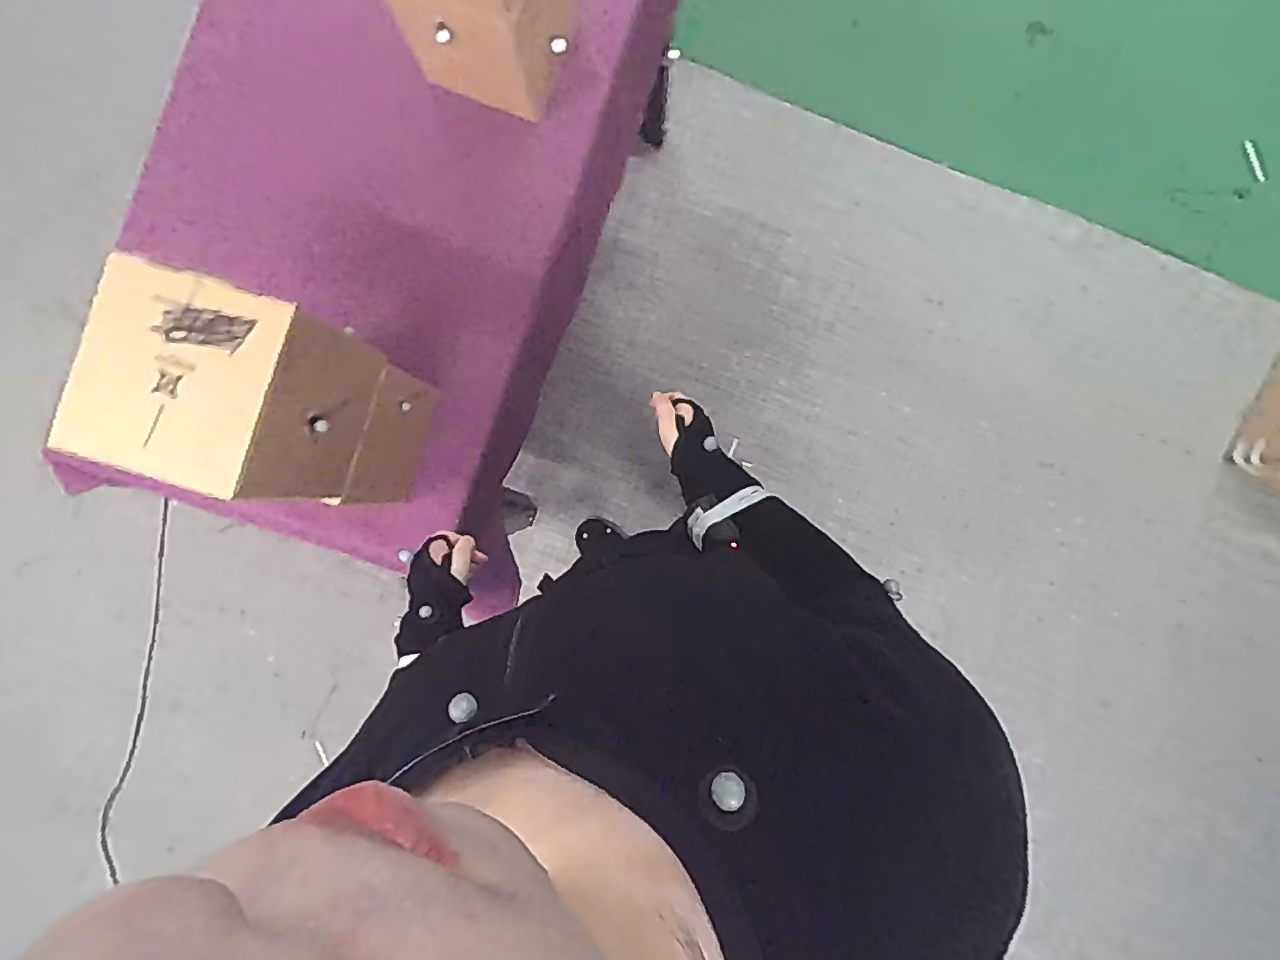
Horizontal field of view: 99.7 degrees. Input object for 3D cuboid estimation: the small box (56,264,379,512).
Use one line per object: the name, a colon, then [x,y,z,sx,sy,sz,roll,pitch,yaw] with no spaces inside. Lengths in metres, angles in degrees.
small box: [-0.390,-0.077,0.537,0.168,0.176,0.179,17,89,0]
